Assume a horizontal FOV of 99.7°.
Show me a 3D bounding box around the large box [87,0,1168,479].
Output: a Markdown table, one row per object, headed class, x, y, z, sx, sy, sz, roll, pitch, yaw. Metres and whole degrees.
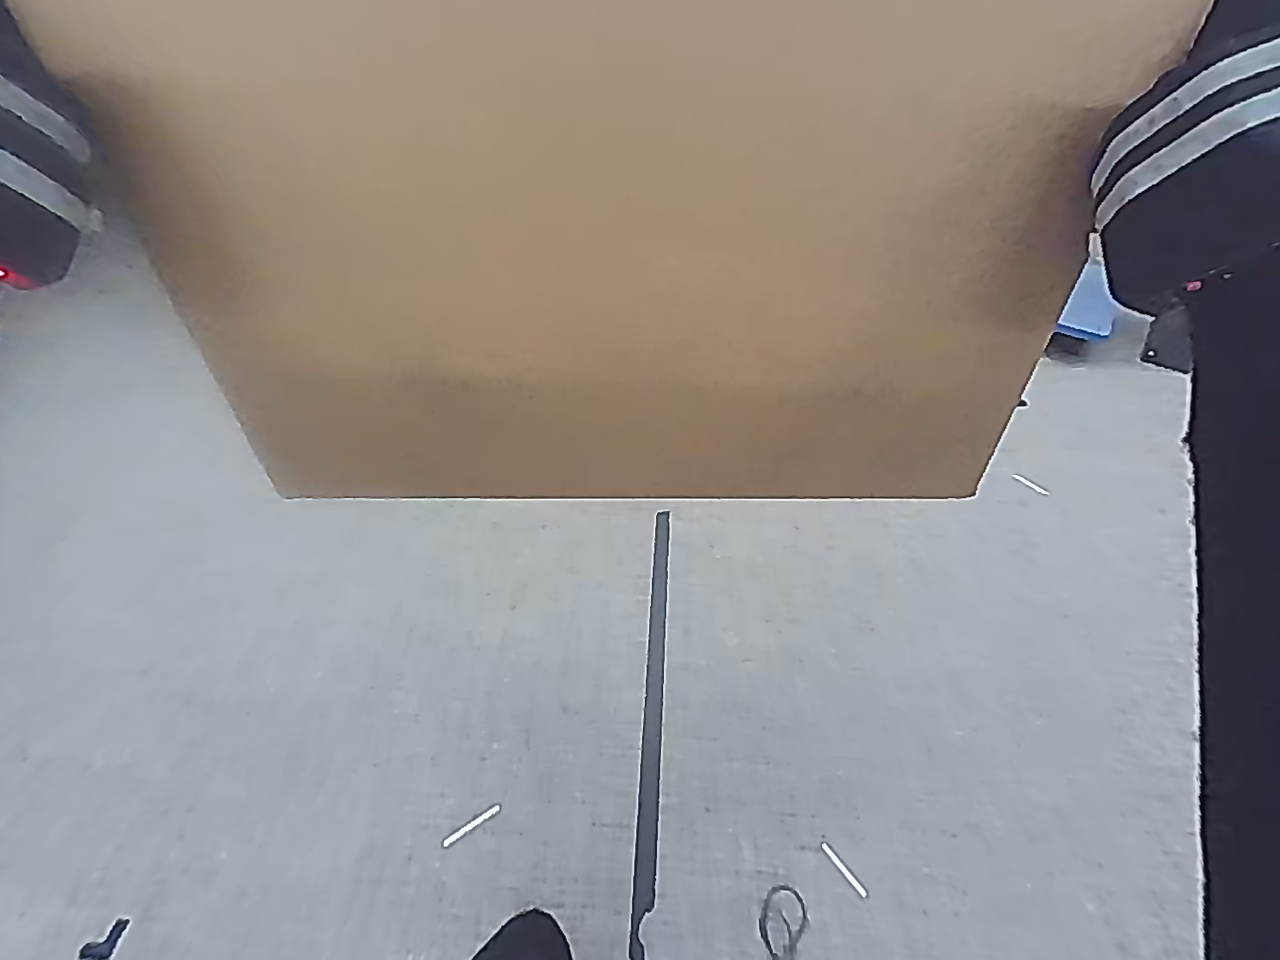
| class | x | y | z | sx | sy | sz | roll | pitch | yaw |
| --- | --- | --- | --- | --- | --- | --- | --- | --- | --- |
| large box | -0.006 | -0.209 | 0.353 | 0.408 | 0.320 | 0.320 | 1 | 38 | 0 |
